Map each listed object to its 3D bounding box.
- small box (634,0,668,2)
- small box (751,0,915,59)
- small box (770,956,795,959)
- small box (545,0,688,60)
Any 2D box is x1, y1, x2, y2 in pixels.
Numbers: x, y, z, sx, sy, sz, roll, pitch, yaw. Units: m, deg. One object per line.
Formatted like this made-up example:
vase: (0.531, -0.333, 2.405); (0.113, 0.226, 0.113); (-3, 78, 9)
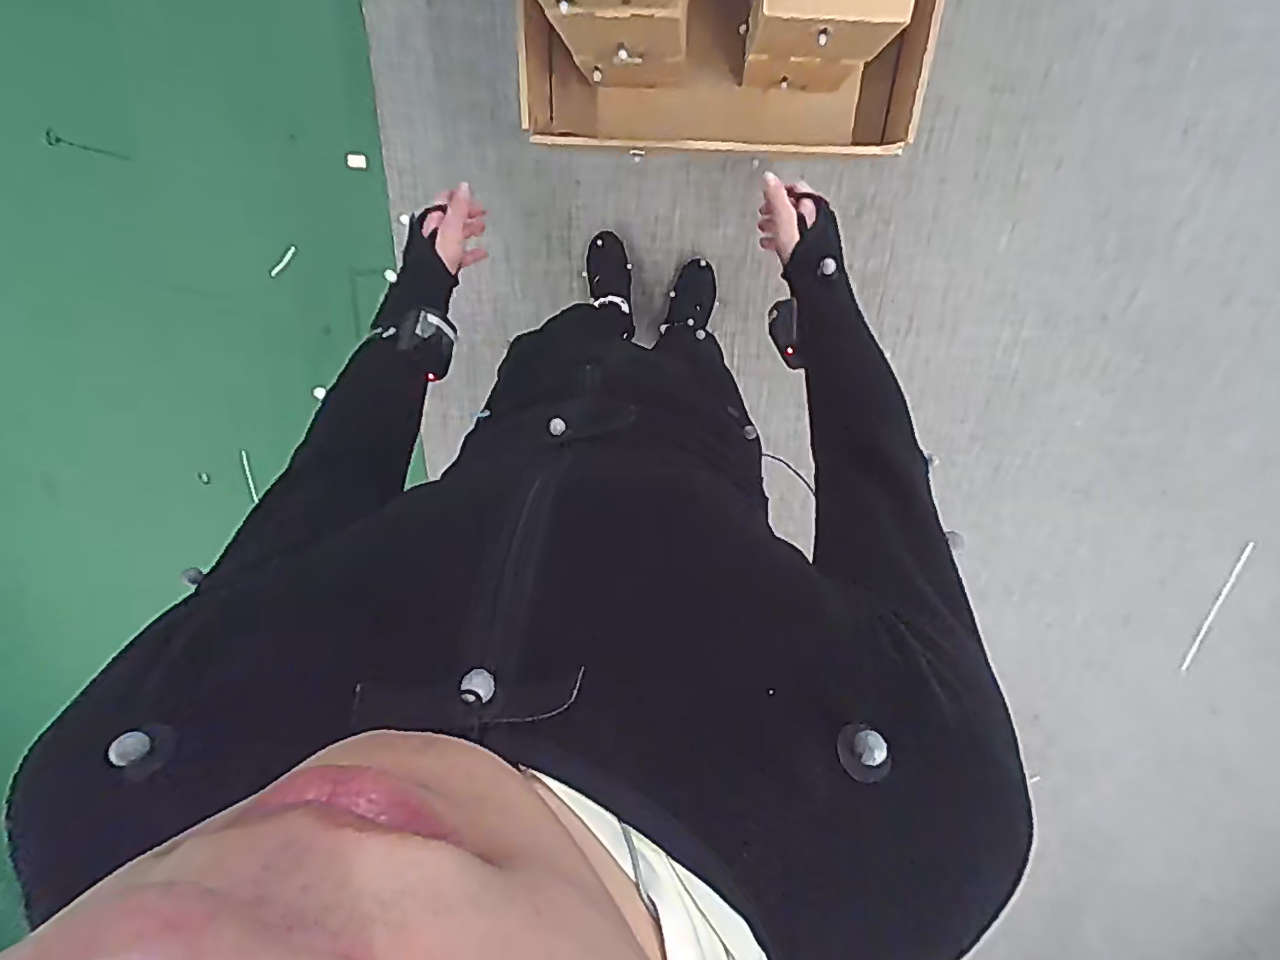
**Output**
small box: (-0.039, -0.602, 0.526); (0.168, 0.176, 0.179); (3, 113, 4)
small box: (0.239, -0.643, 0.664); (0.179, 0.176, 0.168); (6, 116, 2)
small box: (0.403, 1.382, 1.400); (0.179, 0.176, 0.168); (5, 115, 5)
small box: (-0.021, -0.663, 0.678); (0.168, 0.176, 0.179); (5, 114, 4)
